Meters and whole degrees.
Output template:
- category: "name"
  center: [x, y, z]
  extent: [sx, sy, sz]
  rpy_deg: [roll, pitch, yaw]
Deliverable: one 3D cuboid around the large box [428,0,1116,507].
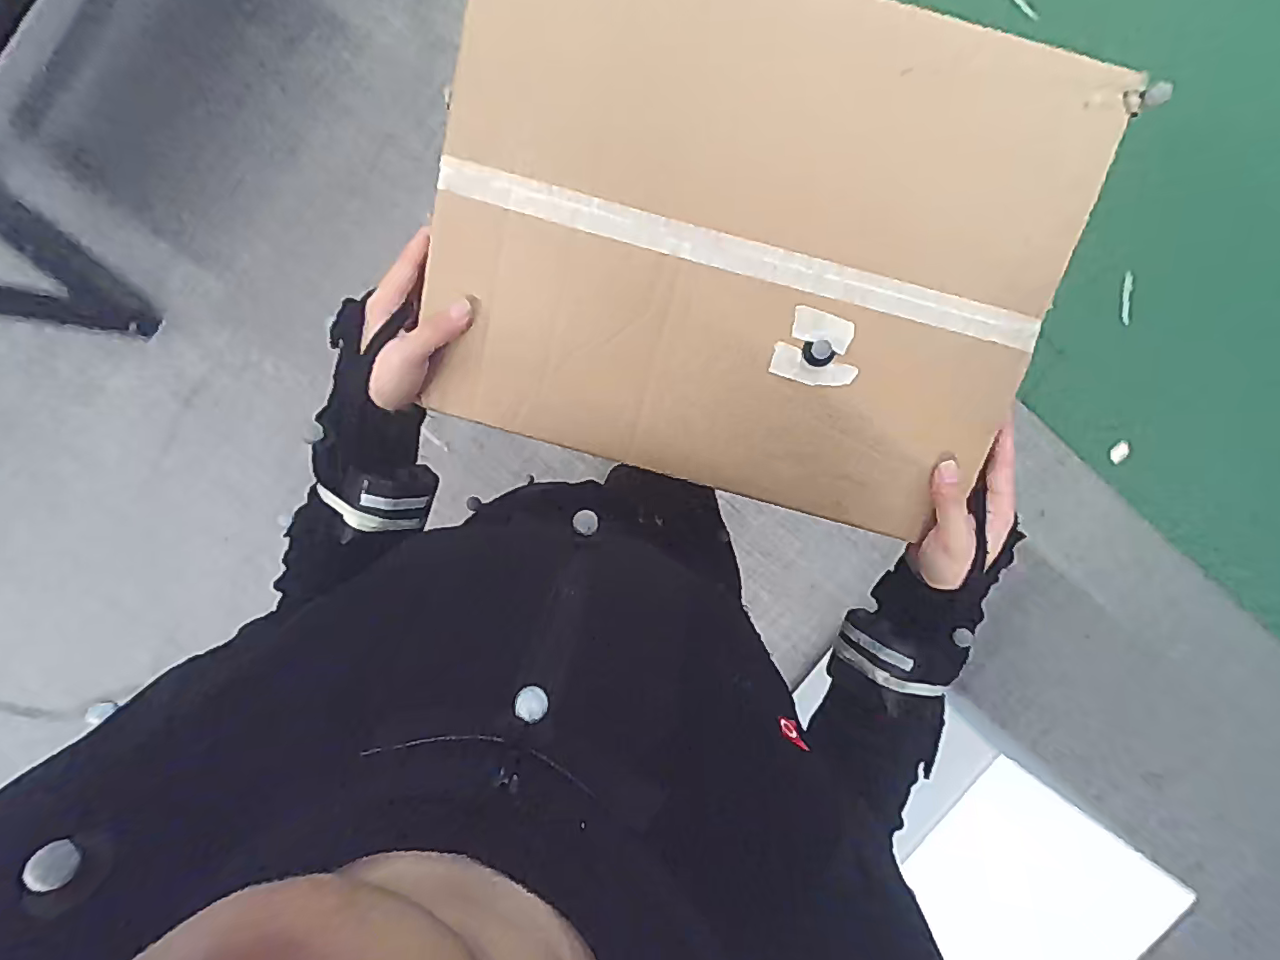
- category: "large box"
  center: [0.072, -0.200, 0.507]
  extent: [0.408, 0.320, 0.320]
  rpy_deg: [14, 105, -2]
